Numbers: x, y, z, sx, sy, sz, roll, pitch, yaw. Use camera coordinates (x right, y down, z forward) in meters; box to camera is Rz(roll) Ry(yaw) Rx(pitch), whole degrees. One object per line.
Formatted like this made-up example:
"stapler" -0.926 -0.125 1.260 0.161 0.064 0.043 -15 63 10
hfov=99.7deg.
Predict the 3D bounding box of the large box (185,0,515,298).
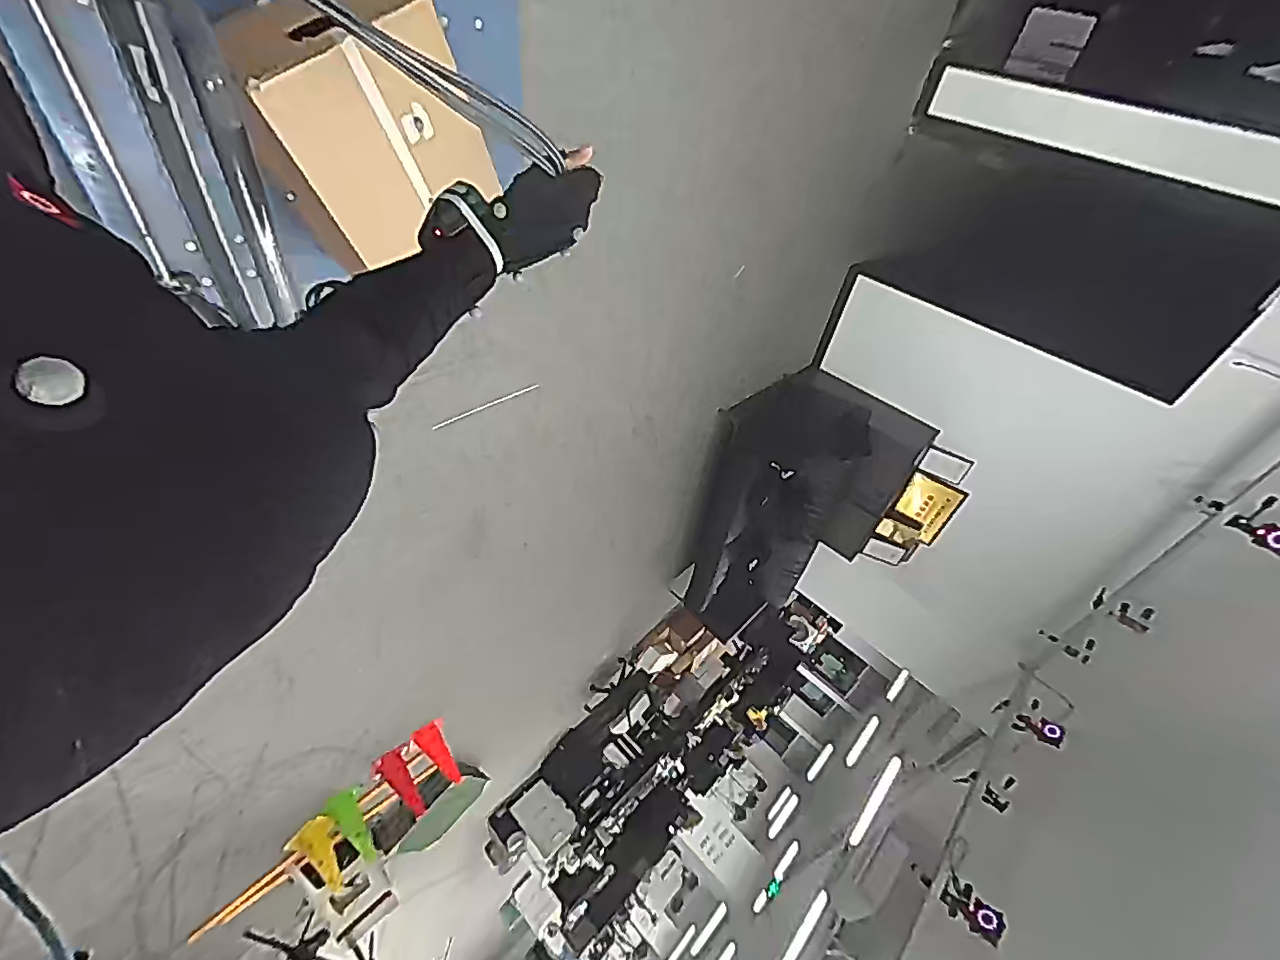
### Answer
"large box" -0.504 -0.636 1.012 0.320 0.320 0.408 -44 152 -16
